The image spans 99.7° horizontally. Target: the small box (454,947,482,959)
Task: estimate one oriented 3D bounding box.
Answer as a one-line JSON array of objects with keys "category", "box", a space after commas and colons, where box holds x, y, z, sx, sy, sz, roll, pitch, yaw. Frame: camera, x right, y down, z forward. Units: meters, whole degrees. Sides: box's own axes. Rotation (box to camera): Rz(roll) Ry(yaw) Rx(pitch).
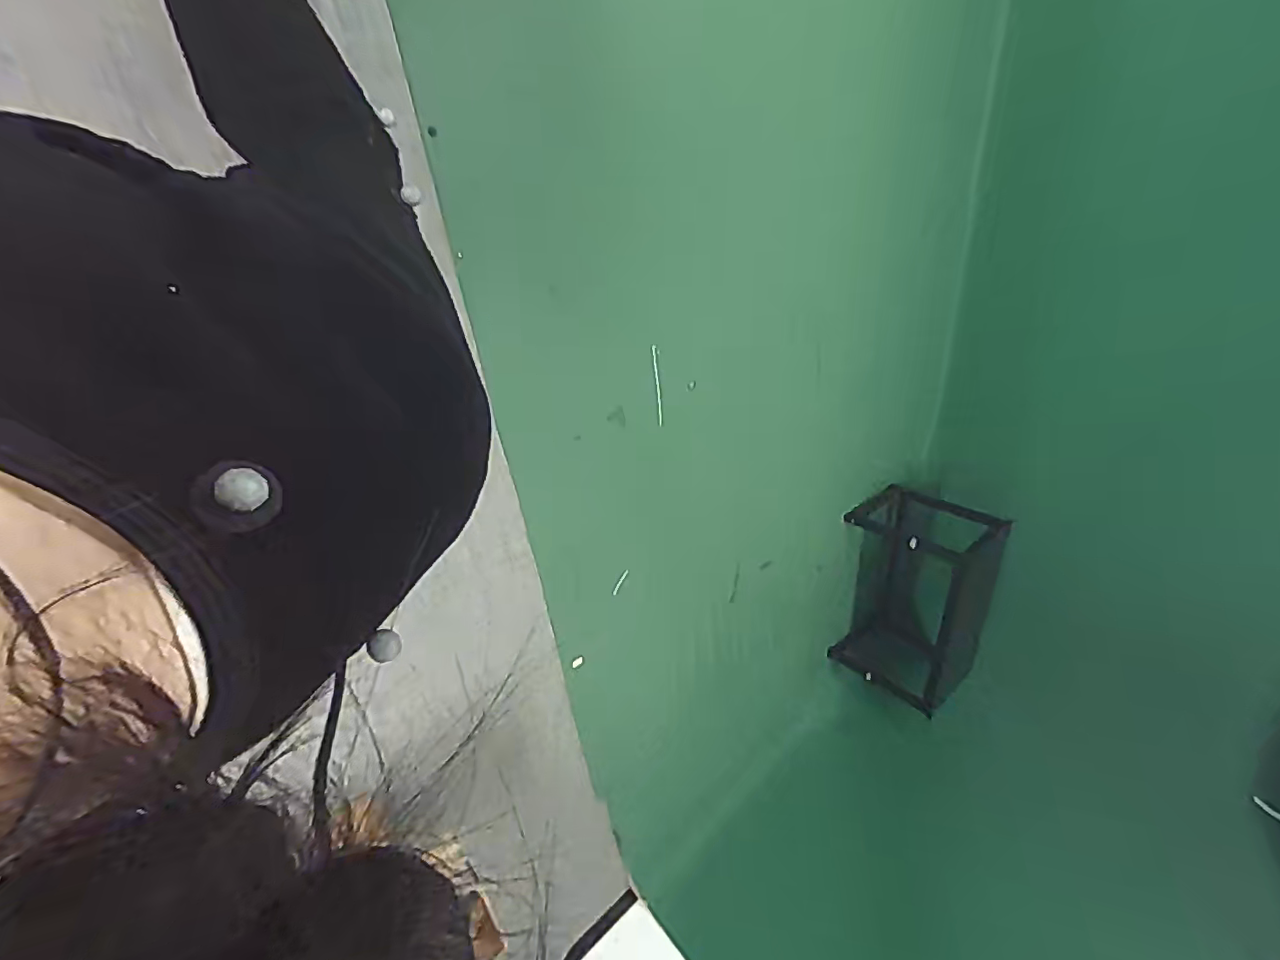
[{"category": "small box", "box": [-0.448, 1.344, 1.362, 0.168, 0.176, 0.179, -26, 123, -32]}]
